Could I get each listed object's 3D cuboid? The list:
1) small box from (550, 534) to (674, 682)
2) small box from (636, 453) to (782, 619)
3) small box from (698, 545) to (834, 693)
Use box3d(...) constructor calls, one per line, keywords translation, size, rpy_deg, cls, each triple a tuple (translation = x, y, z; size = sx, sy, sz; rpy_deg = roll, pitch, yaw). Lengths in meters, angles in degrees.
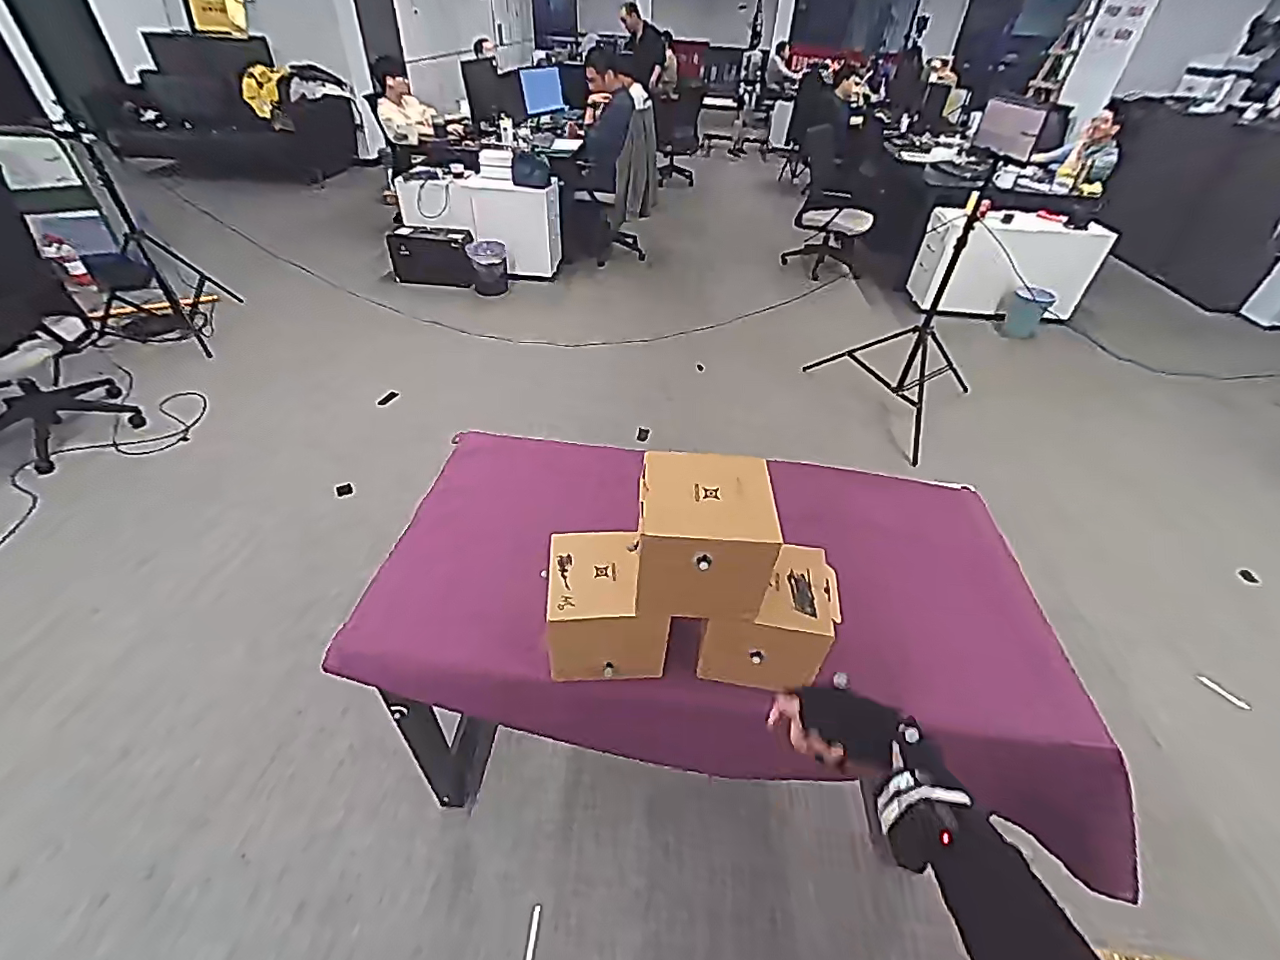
box3d(translation=(-0.050, 0.205, 0.864), size=(0.179, 0.176, 0.168), rpy_deg=(0, 40, -6), cls="small box")
box3d(translation=(0.086, 0.080, 0.767), size=(0.179, 0.176, 0.168), rpy_deg=(4, 41, -1), cls="small box")
box3d(translation=(0.194, 0.217, 0.865), size=(0.179, 0.176, 0.168), rpy_deg=(7, 40, 6), cls="small box")
